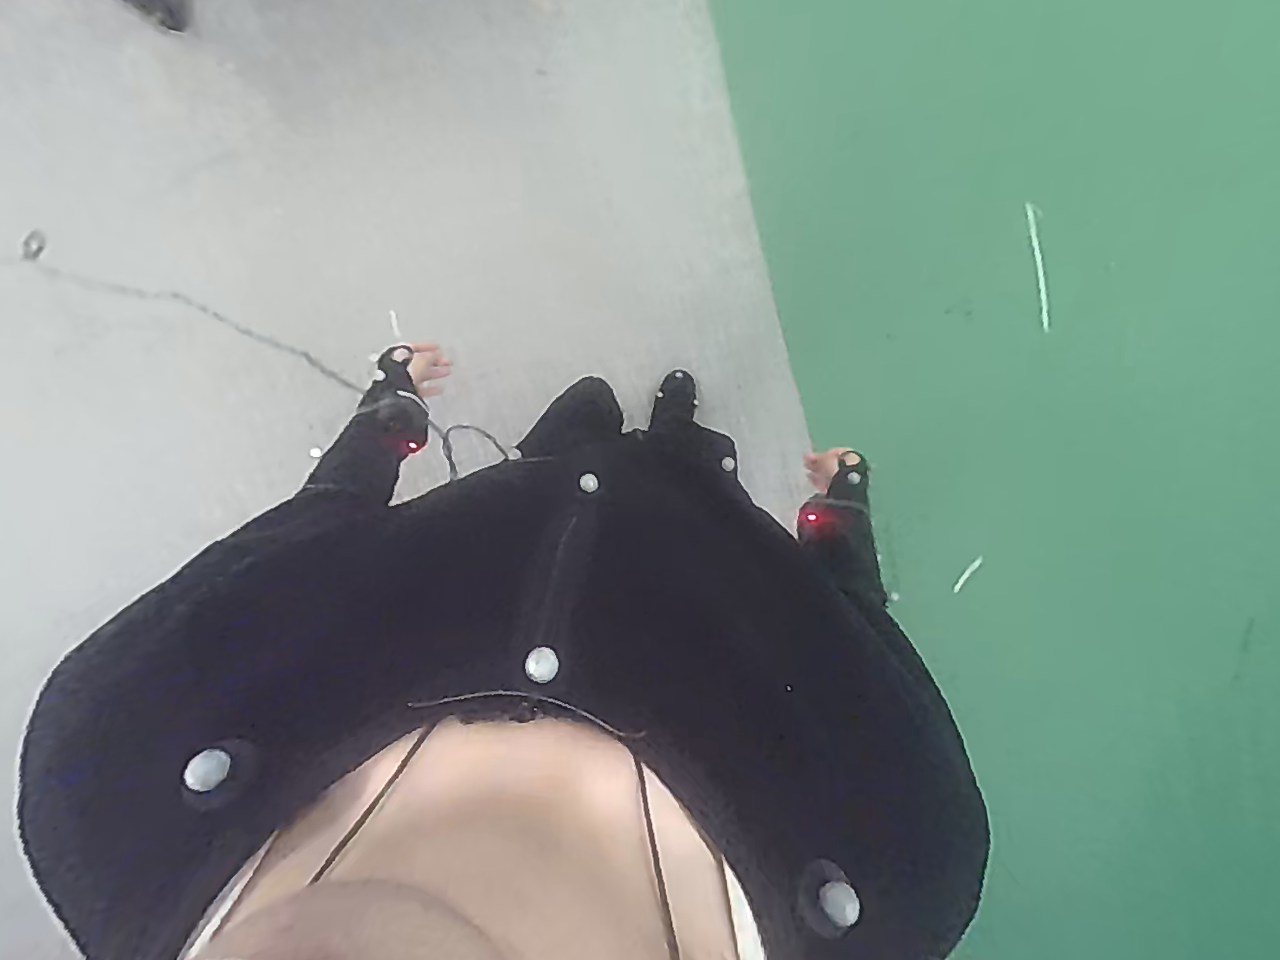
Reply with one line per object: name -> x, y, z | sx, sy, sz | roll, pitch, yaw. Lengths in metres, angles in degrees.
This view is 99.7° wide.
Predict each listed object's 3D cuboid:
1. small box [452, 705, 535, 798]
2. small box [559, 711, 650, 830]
small box -> -0.417, 0.775, 1.565 | 0.168, 0.176, 0.179 | -10, 100, 5
small box -> -0.081, 0.734, 1.379 | 0.168, 0.176, 0.179 | -27, 98, 6
